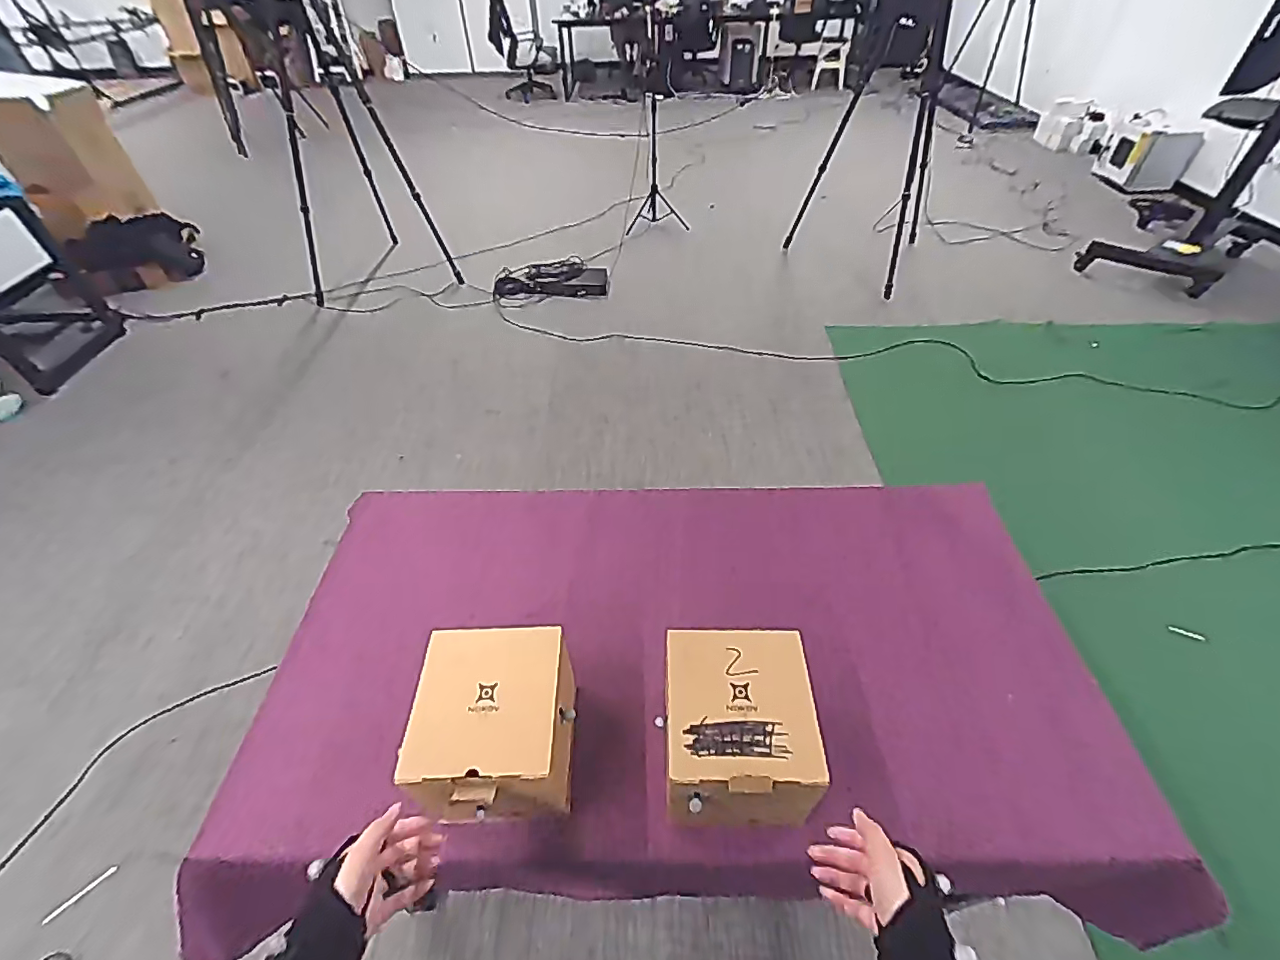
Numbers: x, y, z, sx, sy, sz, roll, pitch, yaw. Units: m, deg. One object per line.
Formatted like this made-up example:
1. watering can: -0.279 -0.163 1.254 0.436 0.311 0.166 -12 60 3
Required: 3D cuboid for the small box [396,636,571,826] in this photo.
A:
1. small box: -0.181 0.320 0.690 0.168 0.176 0.179 -2 46 0
